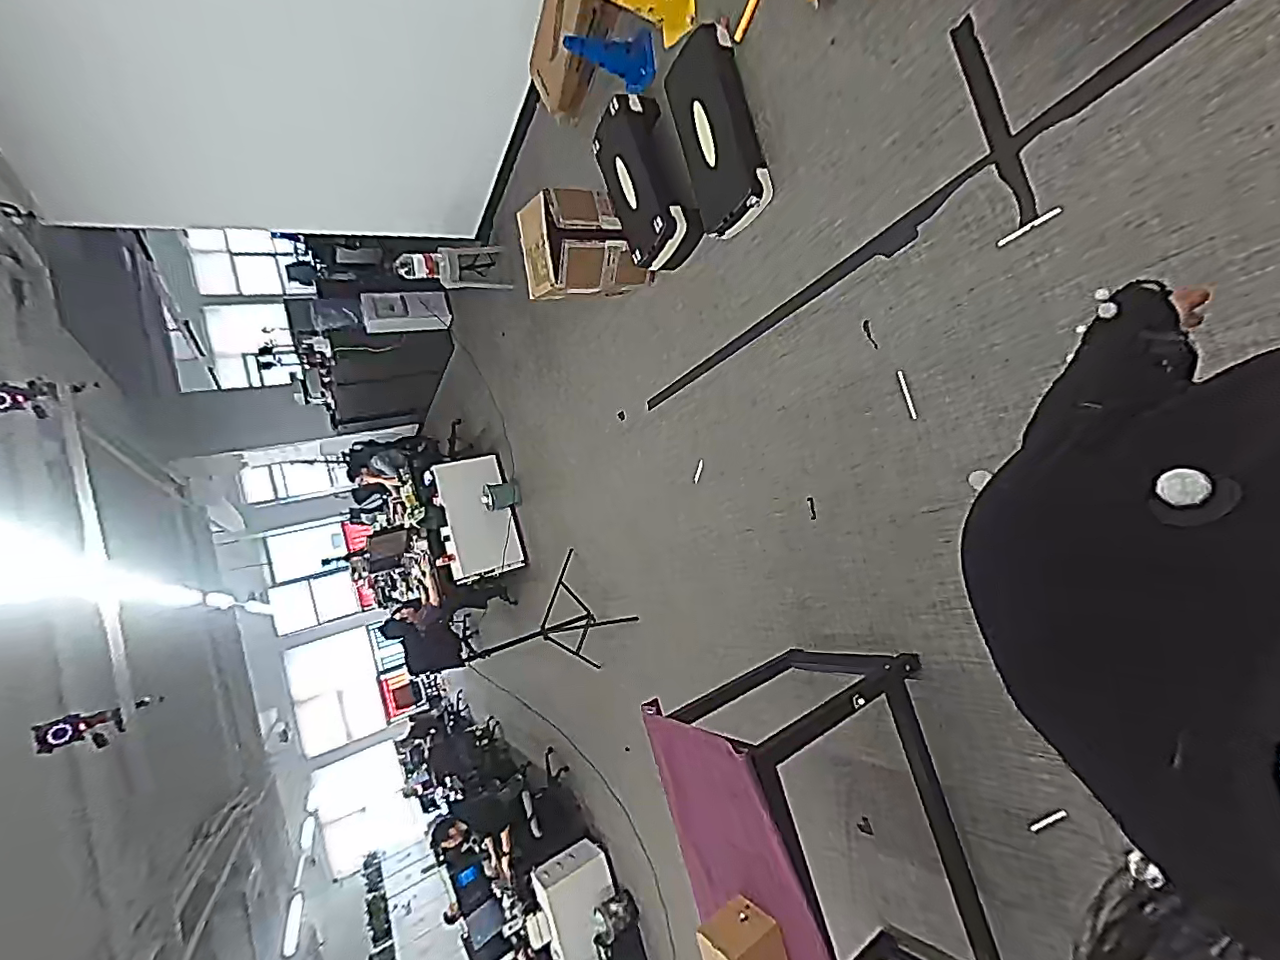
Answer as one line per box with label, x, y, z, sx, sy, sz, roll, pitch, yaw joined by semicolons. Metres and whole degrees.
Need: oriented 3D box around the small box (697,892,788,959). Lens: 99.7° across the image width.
small box;0.286;1.282;1.462;0.168;0.176;0.179;-20;84;59
